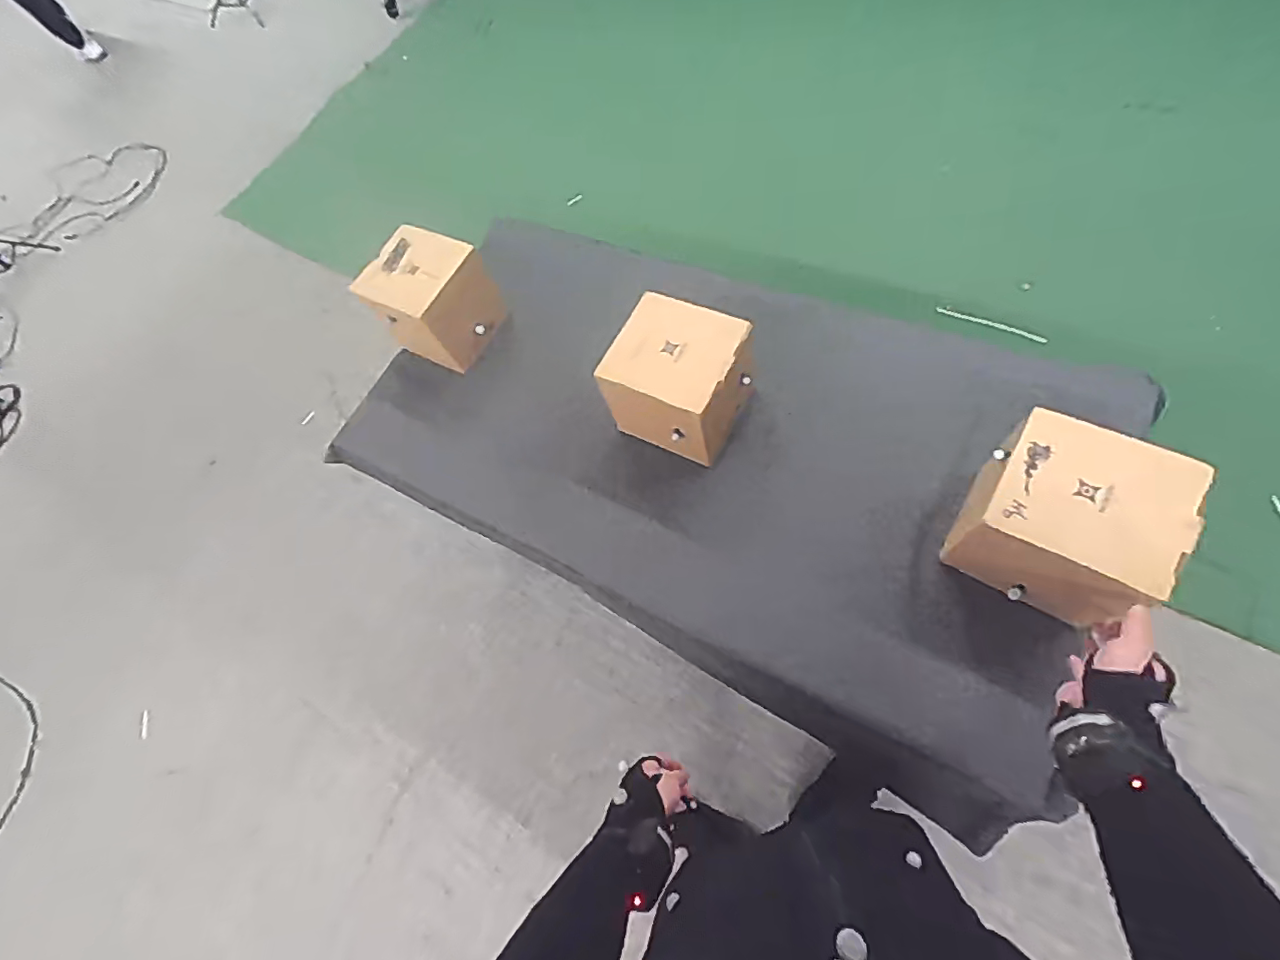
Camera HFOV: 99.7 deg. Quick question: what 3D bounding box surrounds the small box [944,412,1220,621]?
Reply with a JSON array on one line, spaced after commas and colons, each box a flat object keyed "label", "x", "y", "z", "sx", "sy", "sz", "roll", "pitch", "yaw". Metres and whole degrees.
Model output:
[{"label": "small box", "x": 0.509, "y": 0.054, "z": 0.651, "sx": 0.179, "sy": 0.176, "sz": 0.168, "roll": 29, "pitch": 75, "yaw": 20}]

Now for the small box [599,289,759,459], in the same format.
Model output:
[{"label": "small box", "x": 0.068, "y": -0.153, "z": 0.827, "sx": 0.179, "sy": 0.176, "sz": 0.168, "roll": 24, "pitch": 72, "yaw": 20}]

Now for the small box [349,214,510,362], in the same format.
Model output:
[{"label": "small box", "x": -0.372, "y": -0.343, "z": 0.987, "sx": 0.179, "sy": 0.176, "sz": 0.168, "roll": 26, "pitch": 74, "yaw": 18}]
